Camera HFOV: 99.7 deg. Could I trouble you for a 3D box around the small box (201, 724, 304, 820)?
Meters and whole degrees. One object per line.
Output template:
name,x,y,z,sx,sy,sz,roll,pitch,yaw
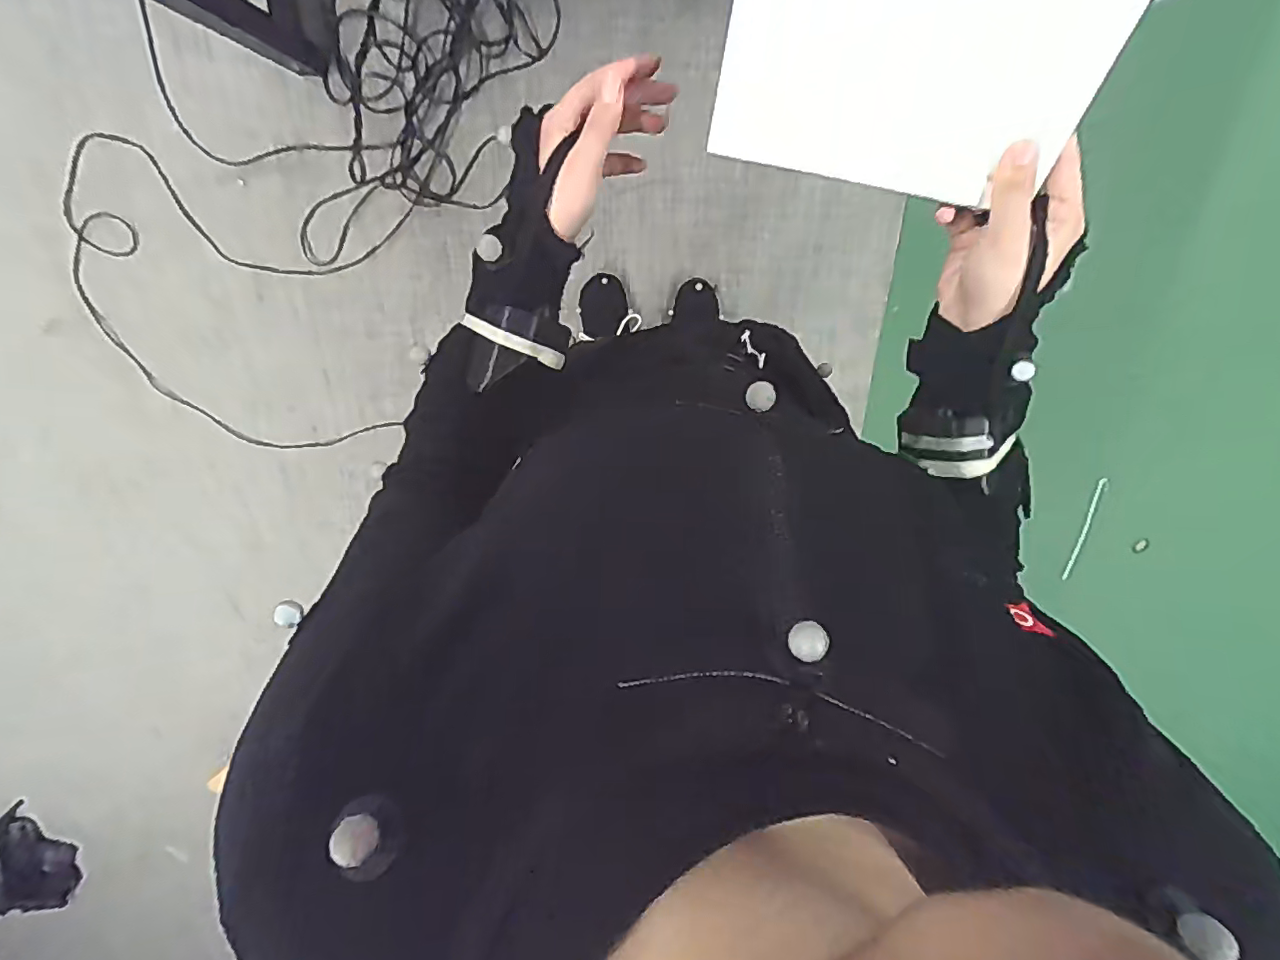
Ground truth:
small box,-1.208,0.914,1.702,0.179,0.176,0.168,-40,108,14
